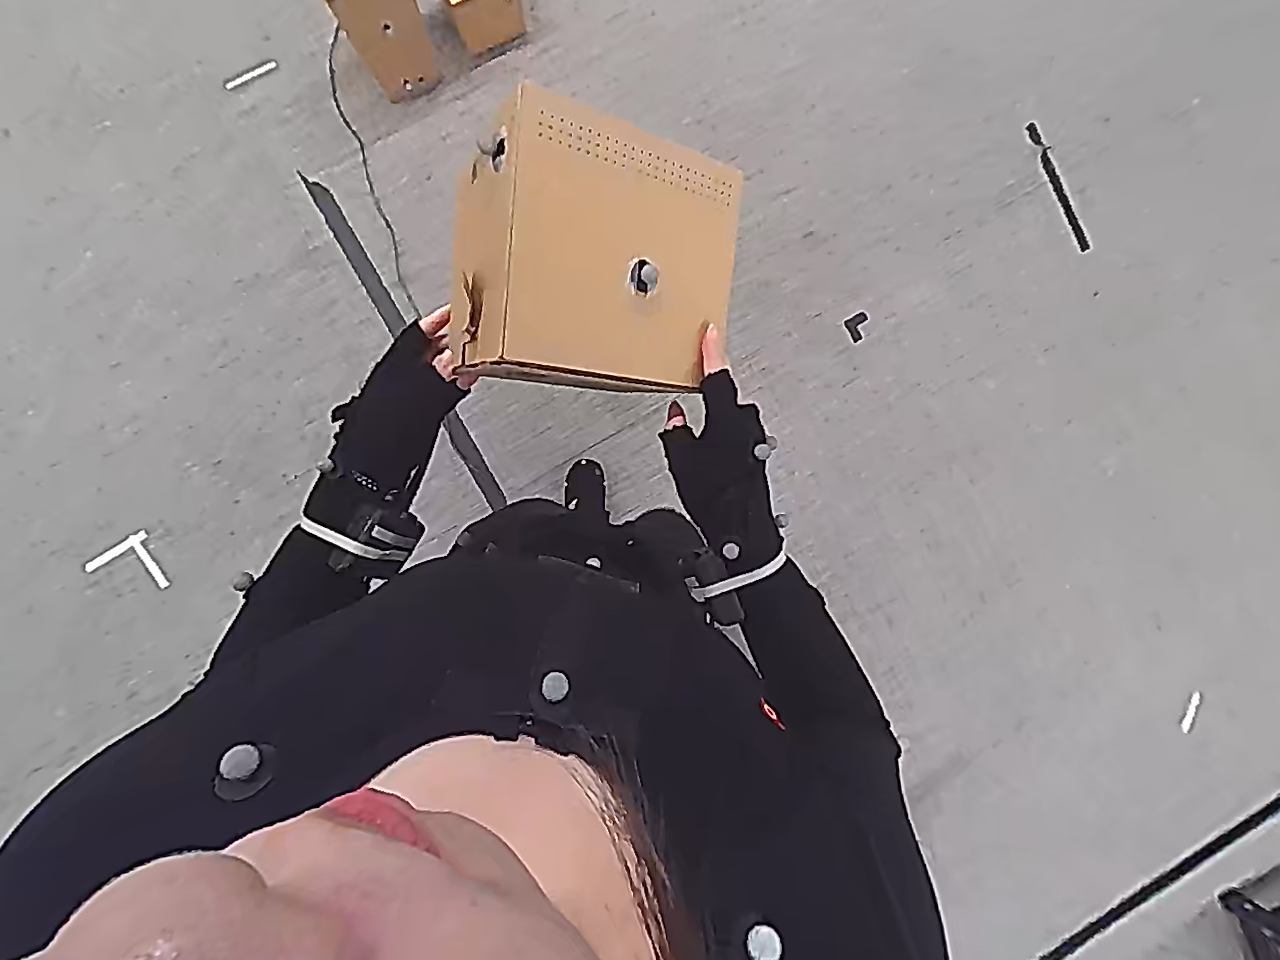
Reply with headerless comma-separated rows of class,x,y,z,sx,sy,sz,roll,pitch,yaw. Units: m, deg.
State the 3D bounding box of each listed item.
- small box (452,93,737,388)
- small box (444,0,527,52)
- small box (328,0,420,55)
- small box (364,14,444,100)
small box,-0.043,-0.170,0.438,0.179,0.168,0.176,1,98,-30
small box,-0.401,-1.229,1.350,0.179,0.176,0.168,-27,94,-4
small box,-0.603,-1.089,1.173,0.179,0.176,0.168,-30,93,-2
small box,-0.616,-1.100,1.337,0.168,0.176,0.179,-29,95,-2
